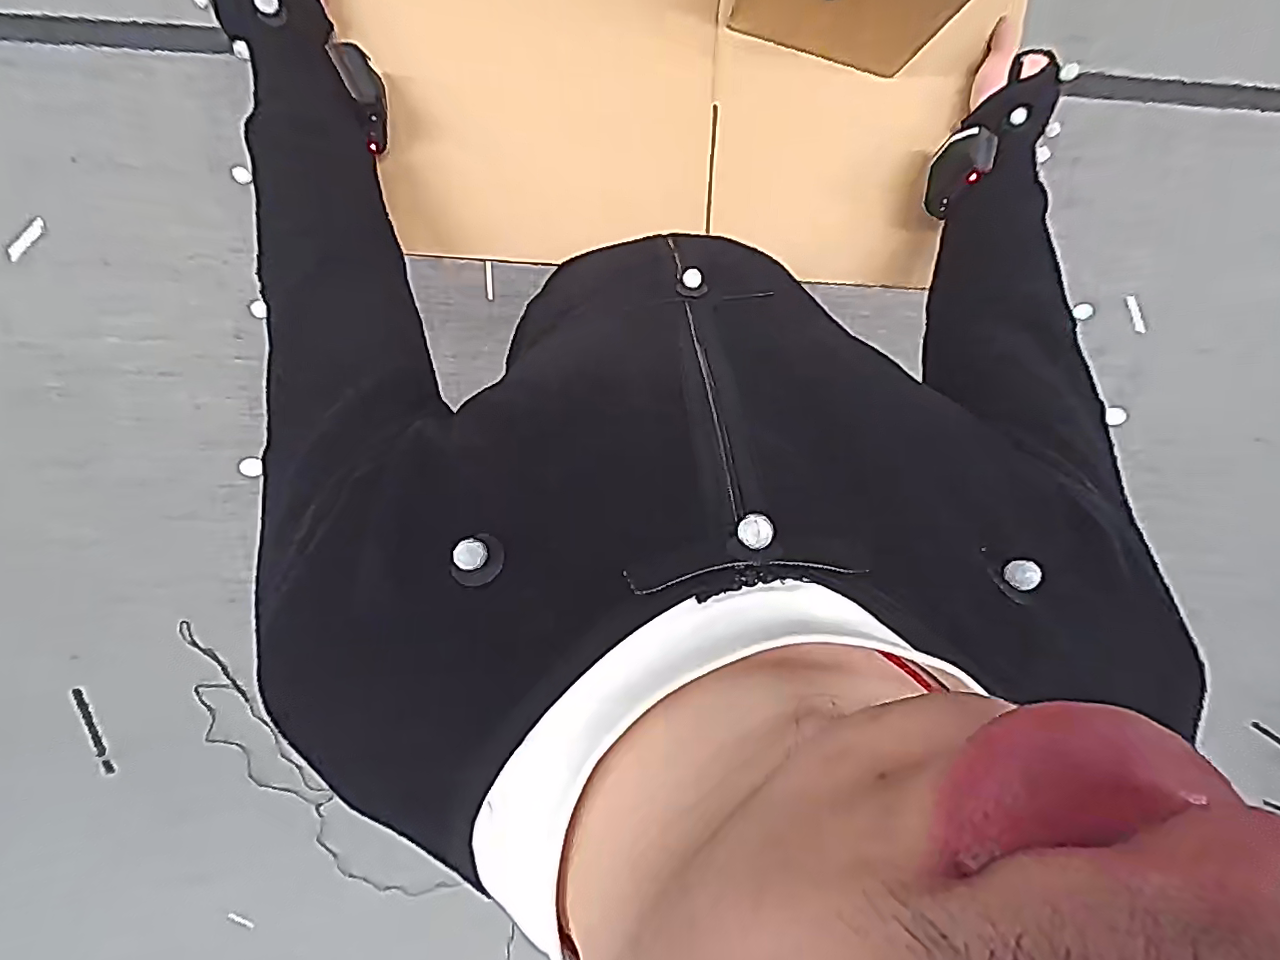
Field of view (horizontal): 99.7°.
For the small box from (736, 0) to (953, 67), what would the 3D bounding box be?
[{"bbox_3d":[0.191,-0.478,0.433,0.179,0.176,0.168,13,102,-5],"label":"small box"}]
